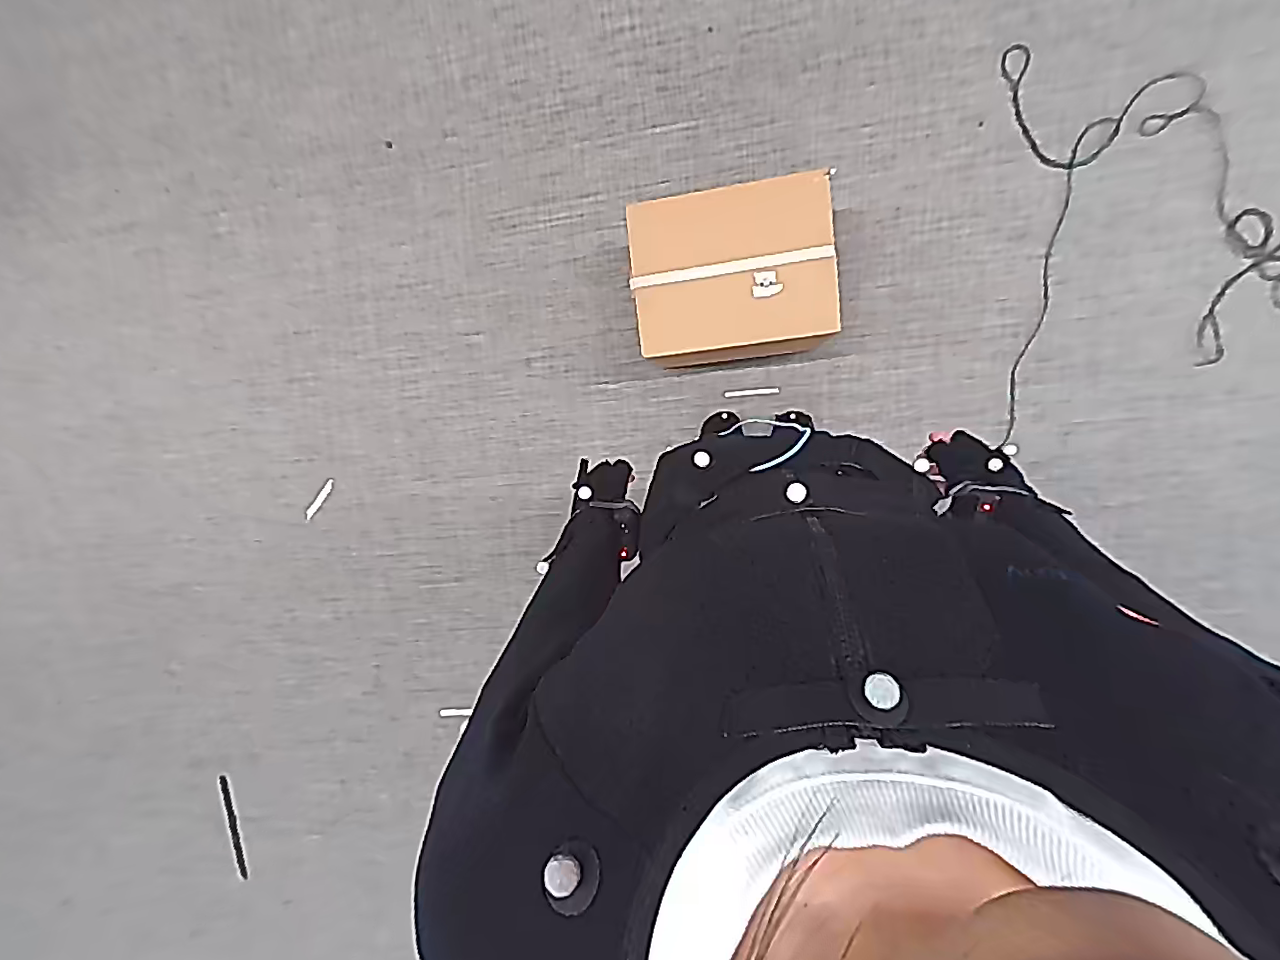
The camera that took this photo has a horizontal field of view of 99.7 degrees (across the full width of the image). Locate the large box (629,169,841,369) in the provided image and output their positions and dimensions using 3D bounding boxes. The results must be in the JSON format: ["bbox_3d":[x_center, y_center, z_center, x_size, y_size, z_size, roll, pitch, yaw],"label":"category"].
[{"bbox_3d":[0.211,-0.448,1.242,0.408,0.320,0.320,-6,97,10],"label":"large box"}]

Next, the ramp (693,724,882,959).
[{"bbox_3d":[0.399,1.189,1.479,0.509,0.206,0.991,-3,96,11],"label":"ramp"}]
